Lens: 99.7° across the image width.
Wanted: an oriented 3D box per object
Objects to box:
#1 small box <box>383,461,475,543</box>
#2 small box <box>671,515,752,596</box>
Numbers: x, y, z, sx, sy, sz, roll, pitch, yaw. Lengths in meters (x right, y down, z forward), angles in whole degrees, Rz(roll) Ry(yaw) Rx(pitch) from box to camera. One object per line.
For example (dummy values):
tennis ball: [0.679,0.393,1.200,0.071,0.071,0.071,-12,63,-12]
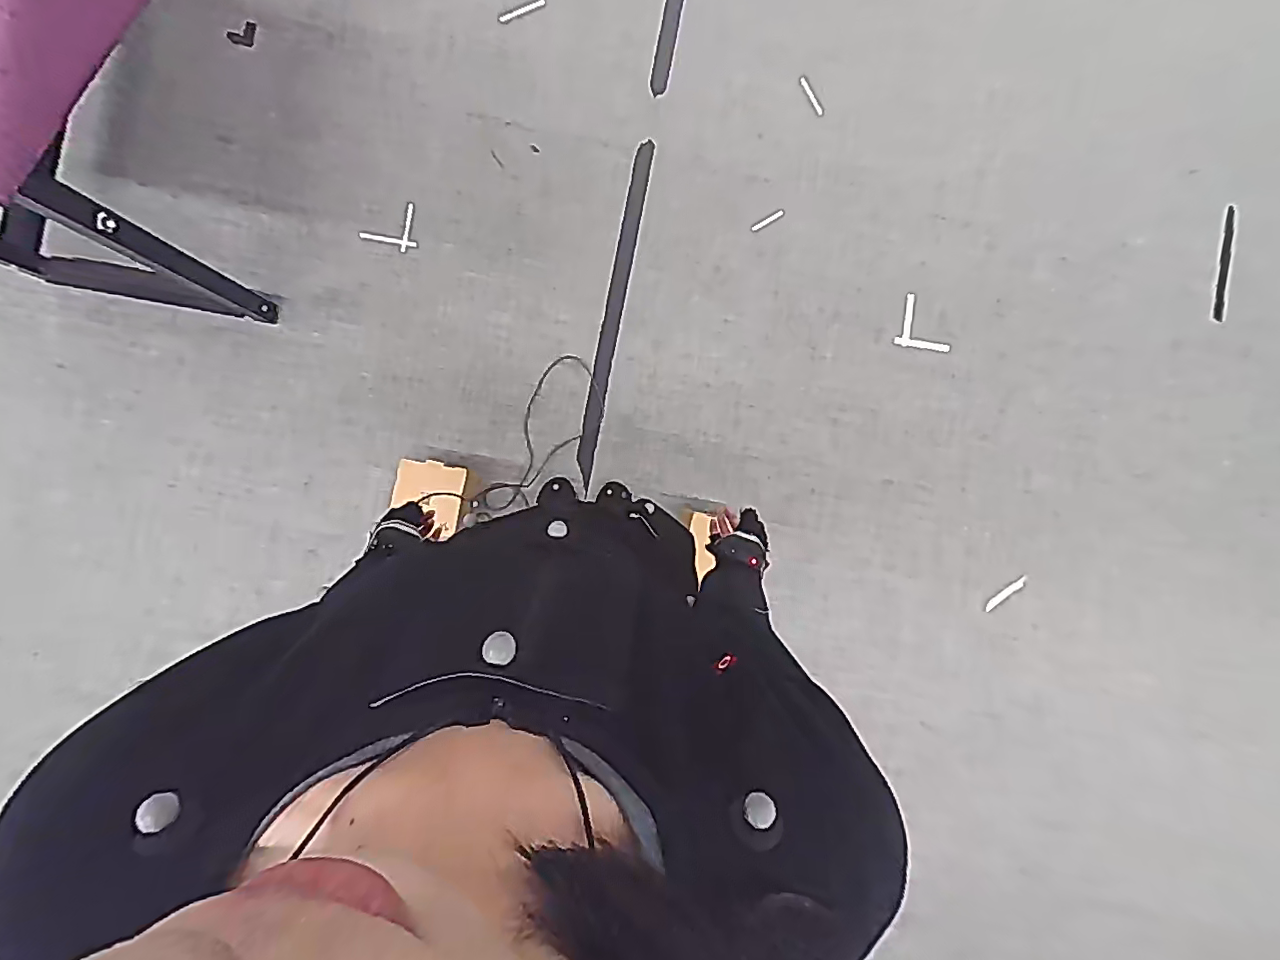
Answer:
small box: [-0.533,0.059,1.395,0.168,0.176,0.179,11,85,-5]
small box: [0.186,0.196,1.459,0.168,0.176,0.179,13,89,-3]
